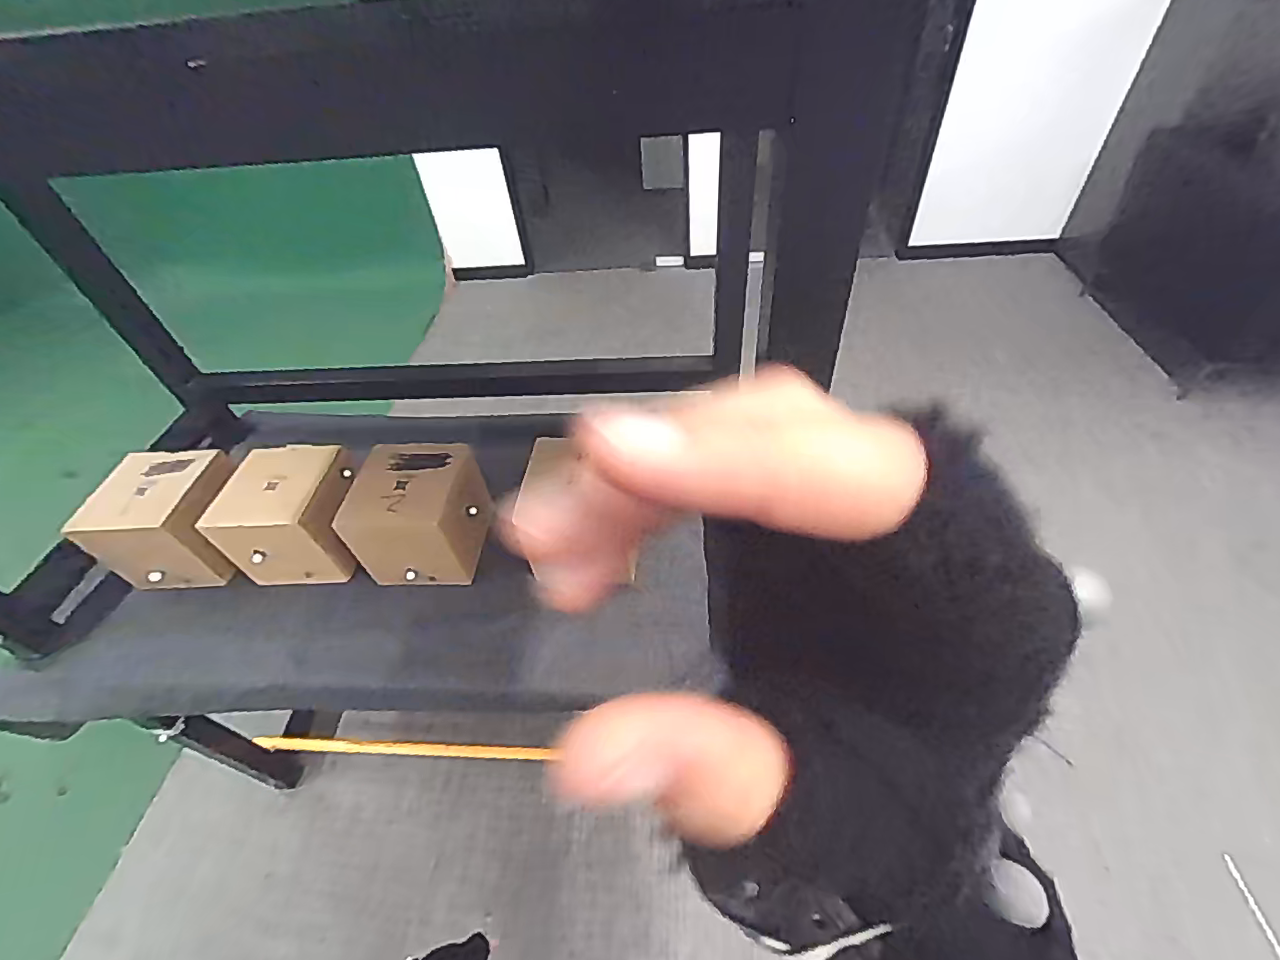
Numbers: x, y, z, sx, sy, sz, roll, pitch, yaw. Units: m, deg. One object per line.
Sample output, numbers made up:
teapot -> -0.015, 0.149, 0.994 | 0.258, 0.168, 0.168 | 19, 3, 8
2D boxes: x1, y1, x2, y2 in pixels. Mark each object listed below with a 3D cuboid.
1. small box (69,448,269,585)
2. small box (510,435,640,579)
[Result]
small box -> -0.800, 0.065, 0.947 | 0.168, 0.176, 0.179 | -3, 47, 4
small box -> -0.093, 0.046, 0.886 | 0.168, 0.176, 0.179 | 2, 47, 7
